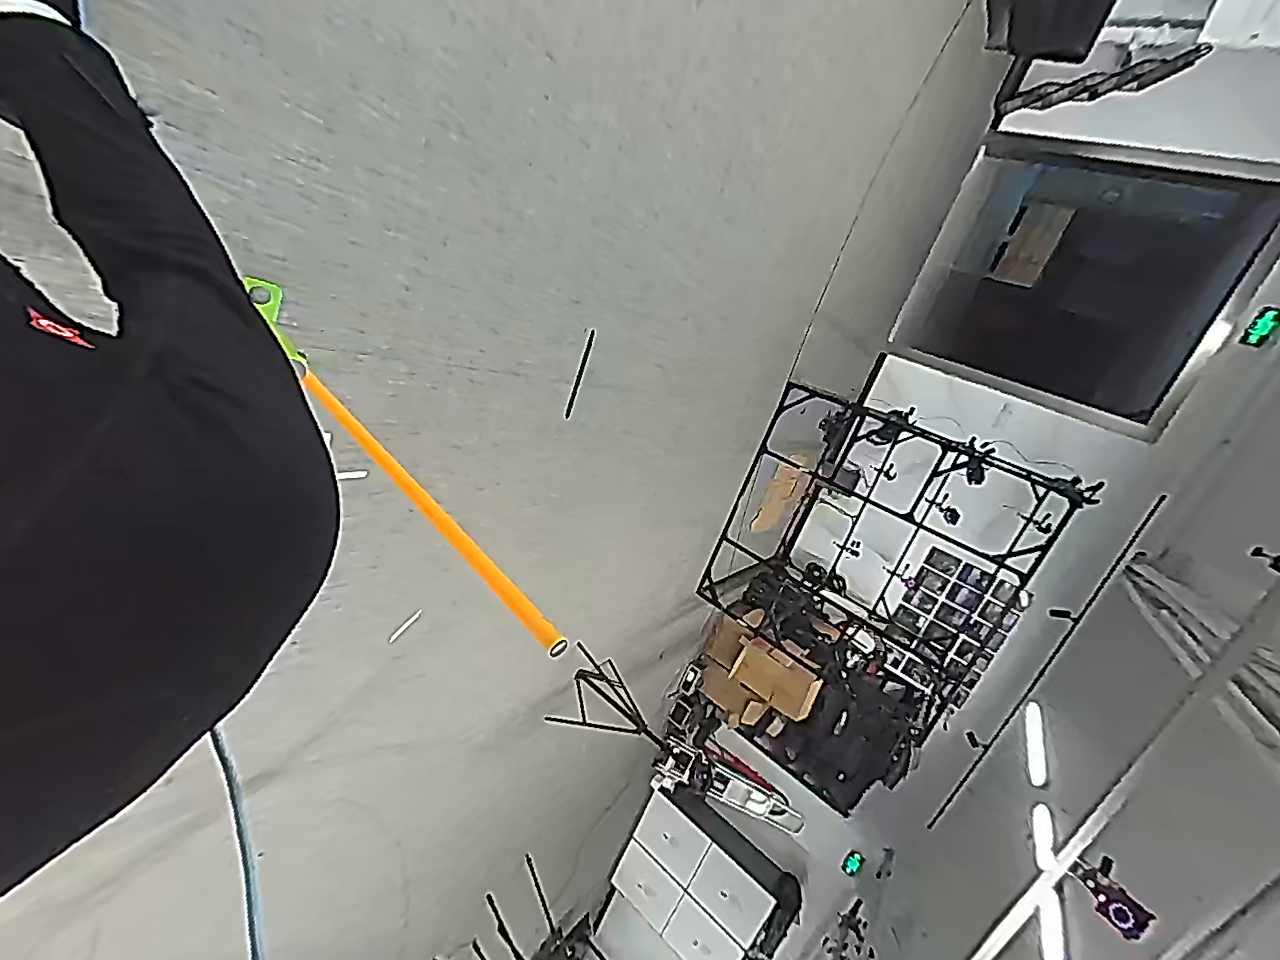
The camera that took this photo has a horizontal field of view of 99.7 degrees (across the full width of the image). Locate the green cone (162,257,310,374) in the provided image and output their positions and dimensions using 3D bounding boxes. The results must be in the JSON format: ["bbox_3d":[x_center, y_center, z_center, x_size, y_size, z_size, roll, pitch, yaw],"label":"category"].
[{"bbox_3d":[-0.817,-0.305,1.150,0.202,0.368,0.200,0,116,-60],"label":"green cone"}]
